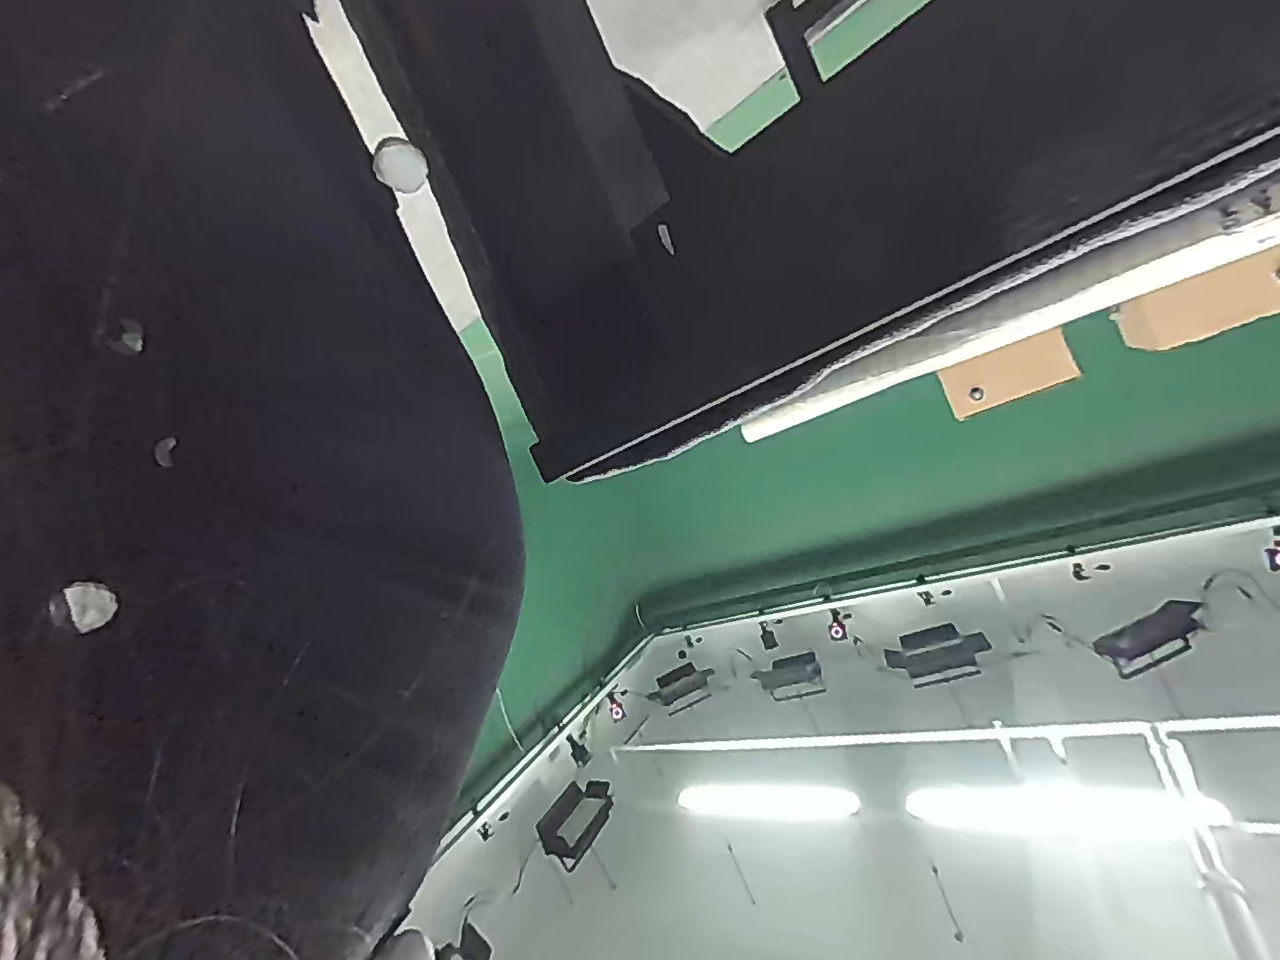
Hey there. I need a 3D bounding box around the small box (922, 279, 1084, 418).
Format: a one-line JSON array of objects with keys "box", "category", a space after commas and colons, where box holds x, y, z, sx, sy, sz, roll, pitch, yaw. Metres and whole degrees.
[{"box": [0.612, -0.227, 0.933, 0.179, 0.176, 0.168, -23, -178, 31], "category": "small box"}]
